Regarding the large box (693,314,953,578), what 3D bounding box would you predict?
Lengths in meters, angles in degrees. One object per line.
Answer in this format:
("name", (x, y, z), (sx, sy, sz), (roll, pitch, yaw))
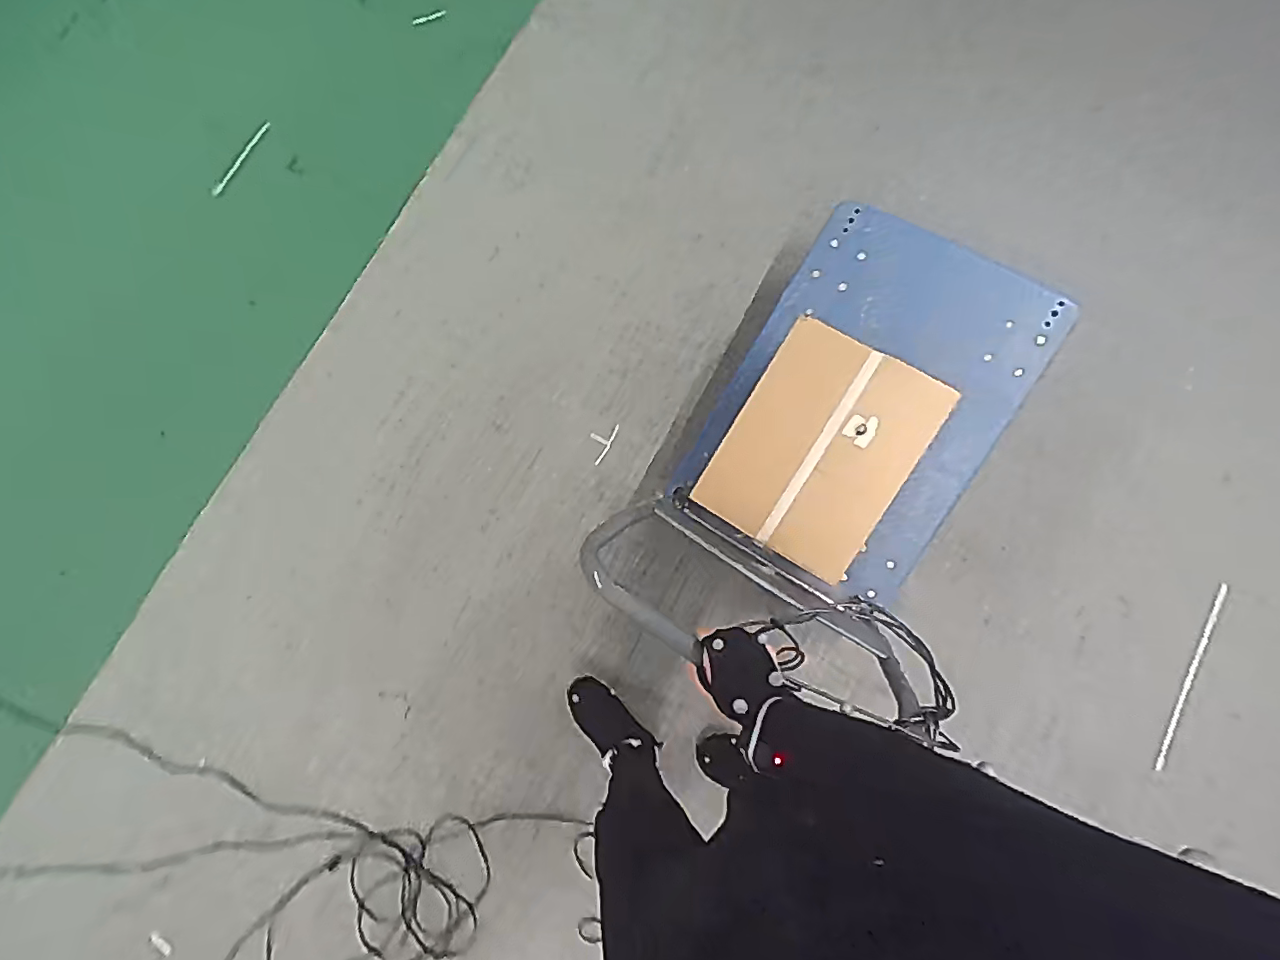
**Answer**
("large box", (0.359, -0.058, 1.135), (0.320, 0.320, 0.408), (32, 96, 12))
